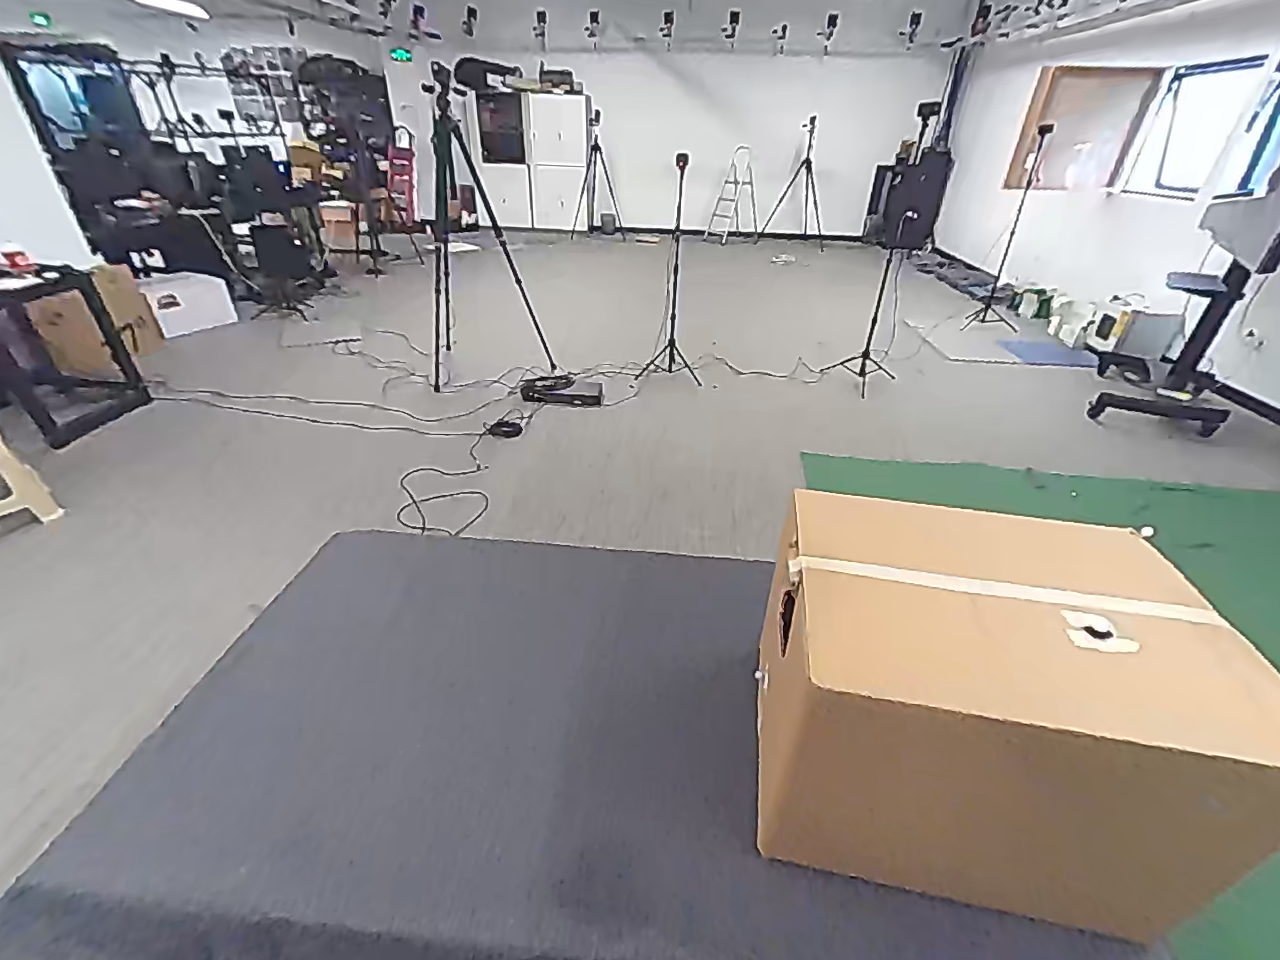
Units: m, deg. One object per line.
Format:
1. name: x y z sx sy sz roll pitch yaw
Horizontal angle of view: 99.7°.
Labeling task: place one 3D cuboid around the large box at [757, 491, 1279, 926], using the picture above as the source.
1. large box: 0.363 0.242 0.637 0.408 0.320 0.320 8 33 8
